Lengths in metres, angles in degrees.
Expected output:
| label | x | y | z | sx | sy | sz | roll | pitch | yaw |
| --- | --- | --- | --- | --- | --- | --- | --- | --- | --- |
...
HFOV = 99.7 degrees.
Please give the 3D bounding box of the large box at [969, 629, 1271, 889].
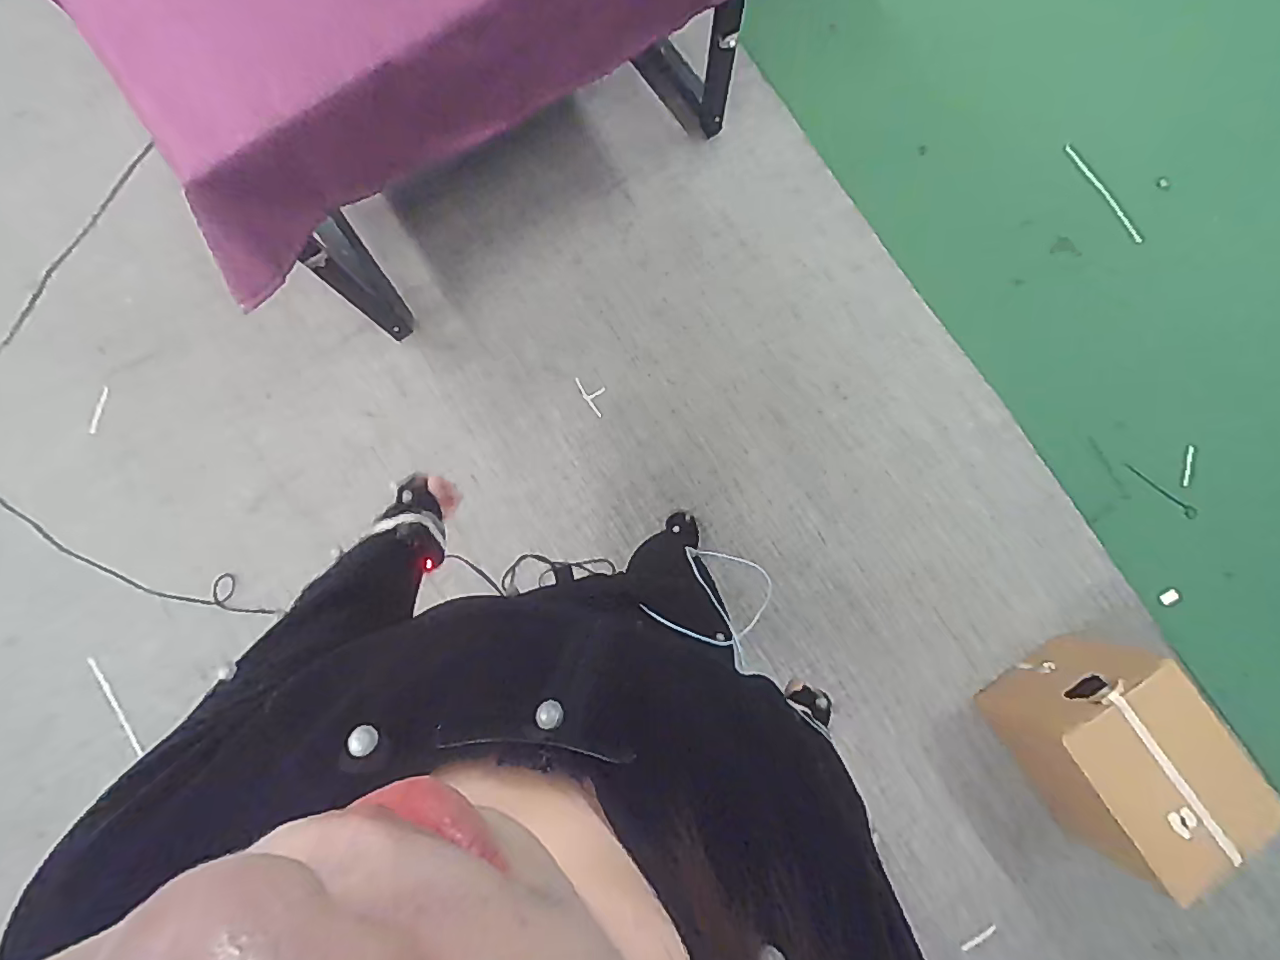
| label | x | y | z | sx | sy | sz | roll | pitch | yaw |
| --- | --- | --- | --- | --- | --- | --- | --- | --- | --- |
| large box | 1.119 | 0.636 | 1.312 | 0.320 | 0.320 | 0.408 | -33 | 86 | -4 |
